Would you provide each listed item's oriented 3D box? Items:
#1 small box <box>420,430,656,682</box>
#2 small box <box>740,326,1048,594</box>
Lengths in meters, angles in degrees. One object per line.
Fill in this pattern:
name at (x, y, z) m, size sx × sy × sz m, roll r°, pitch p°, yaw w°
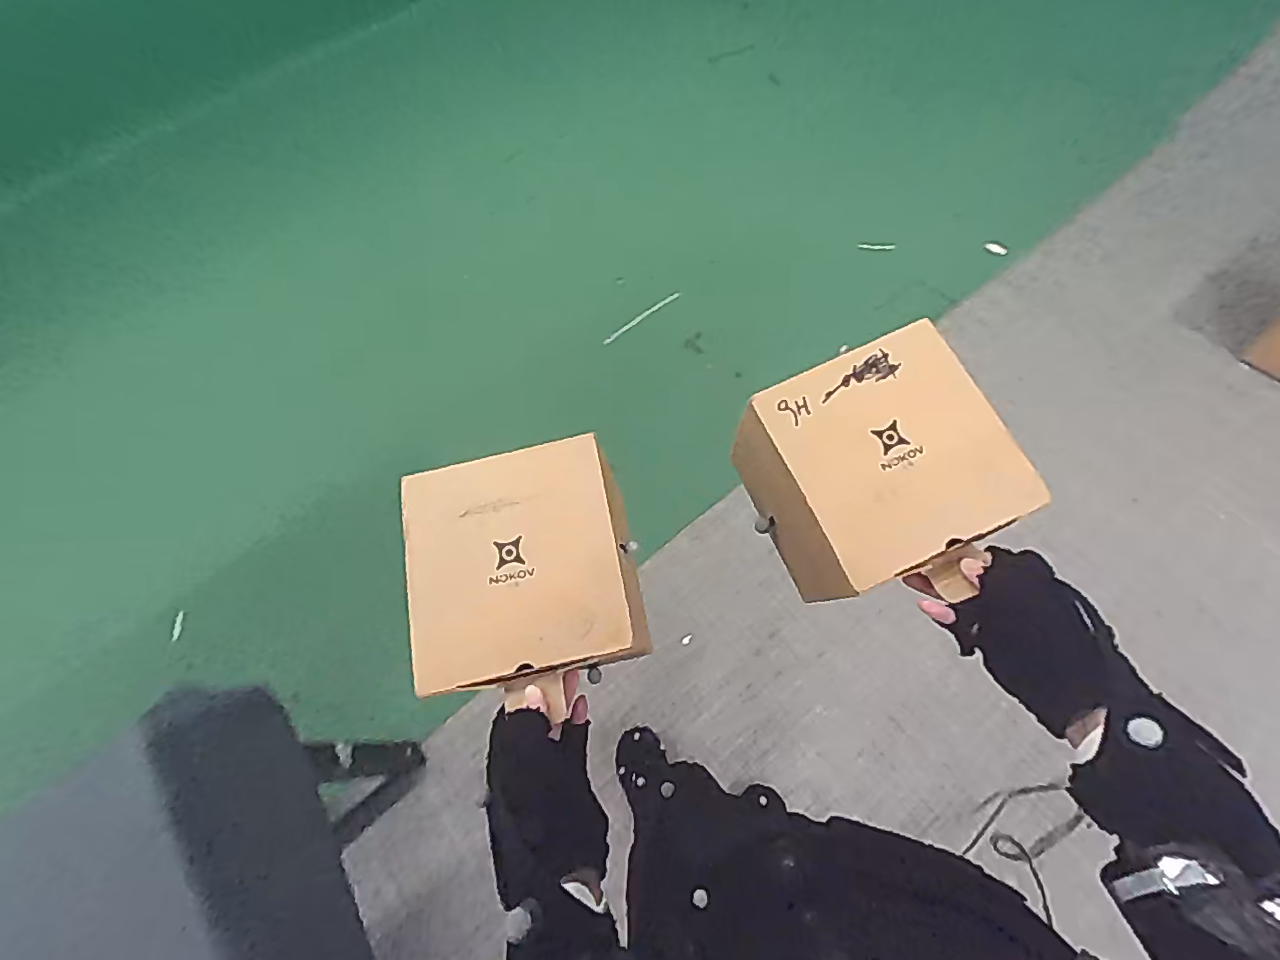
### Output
small box at (-0.083, 0.079, 0.500) m, size 0.168 × 0.176 × 0.179 m, roll -12°, pitch 70°, yaw 1°
small box at (0.210, -0.004, 0.505) m, size 0.168 × 0.176 × 0.179 m, roll -22°, pitch 76°, yaw -4°
